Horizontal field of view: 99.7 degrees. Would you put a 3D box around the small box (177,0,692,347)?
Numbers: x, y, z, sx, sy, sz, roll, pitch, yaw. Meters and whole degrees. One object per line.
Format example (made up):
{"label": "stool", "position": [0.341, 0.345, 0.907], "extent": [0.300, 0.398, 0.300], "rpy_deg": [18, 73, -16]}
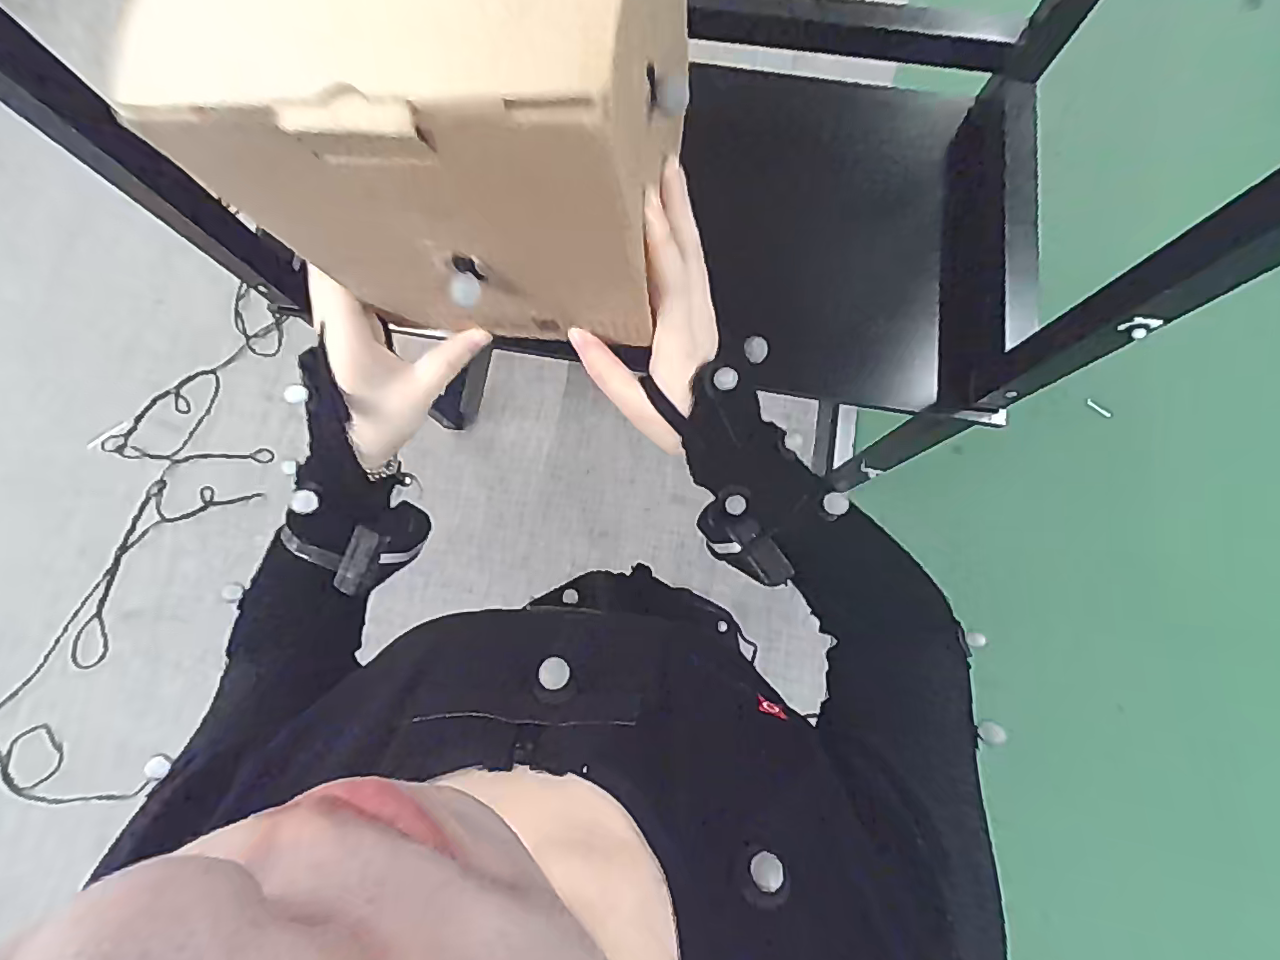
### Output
{"label": "small box", "position": [-0.064, -0.179, 0.268], "extent": [0.168, 0.176, 0.179], "rpy_deg": [5, 82, 7]}
